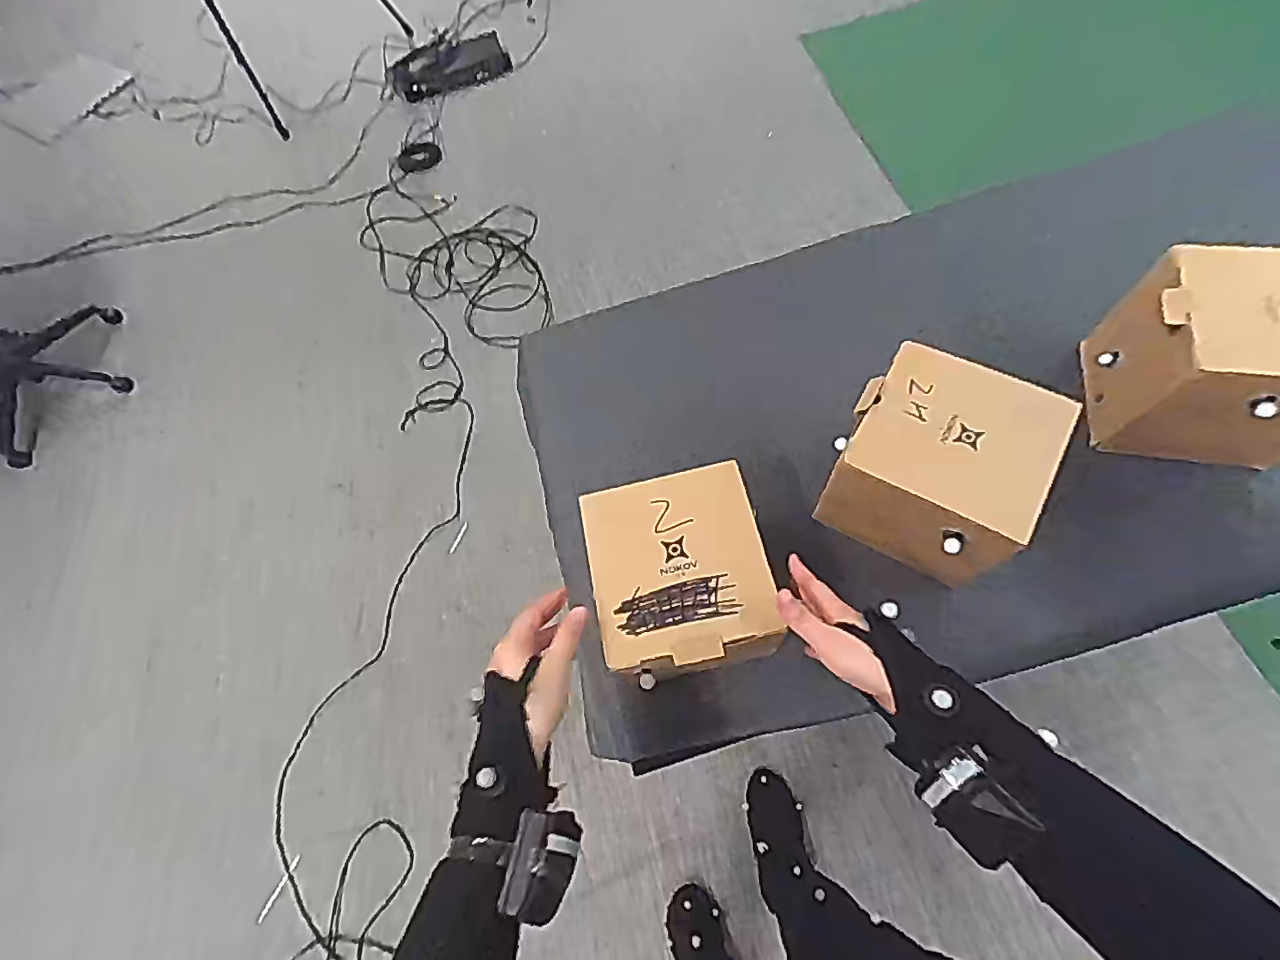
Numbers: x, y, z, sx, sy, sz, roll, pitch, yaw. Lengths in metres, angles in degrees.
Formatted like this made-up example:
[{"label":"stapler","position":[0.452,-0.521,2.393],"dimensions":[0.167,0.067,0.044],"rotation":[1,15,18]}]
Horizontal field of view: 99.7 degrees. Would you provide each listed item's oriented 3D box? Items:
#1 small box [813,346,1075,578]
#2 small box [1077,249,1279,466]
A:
[{"label":"small box","position":[0.314,-0.008,0.596],"dimensions":[0.179,0.176,0.168],"rotation":[28,72,19]},{"label":"small box","position":[0.637,-0.128,0.602],"dimensions":[0.179,0.176,0.168],"rotation":[8,67,13]}]
